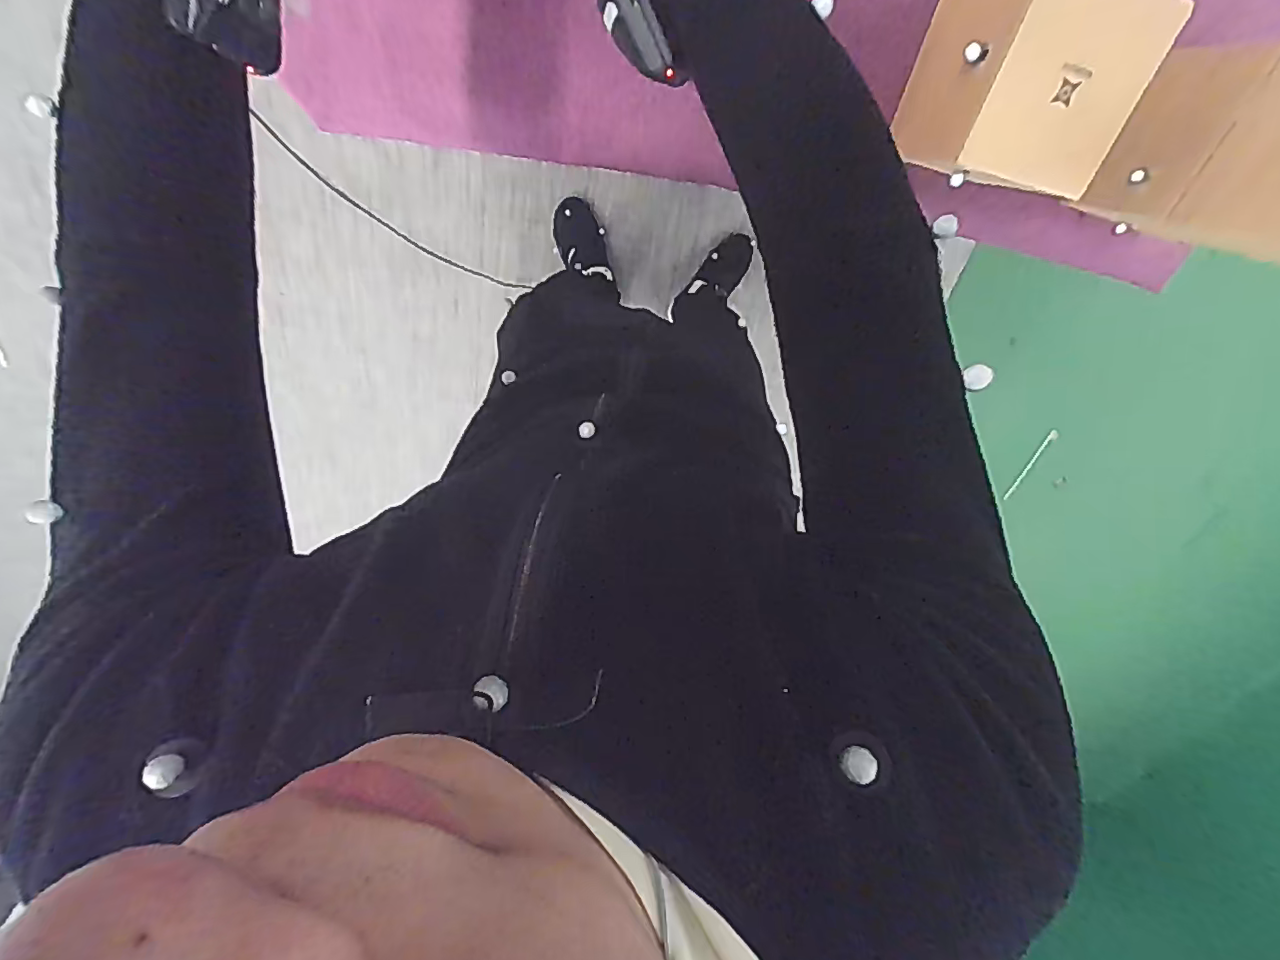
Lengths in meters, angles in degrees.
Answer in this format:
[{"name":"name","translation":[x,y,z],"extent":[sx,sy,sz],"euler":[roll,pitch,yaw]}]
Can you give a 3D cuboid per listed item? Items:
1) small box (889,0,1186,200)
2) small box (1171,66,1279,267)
[{"name":"small box","translation":[0.412,-0.436,0.603],"extent":[0.168,0.176,0.179],"euler":[7,122,-12]},{"name":"small box","translation":[0.705,-0.306,0.529],"extent":[0.168,0.176,0.179],"euler":[10,122,-13]}]
